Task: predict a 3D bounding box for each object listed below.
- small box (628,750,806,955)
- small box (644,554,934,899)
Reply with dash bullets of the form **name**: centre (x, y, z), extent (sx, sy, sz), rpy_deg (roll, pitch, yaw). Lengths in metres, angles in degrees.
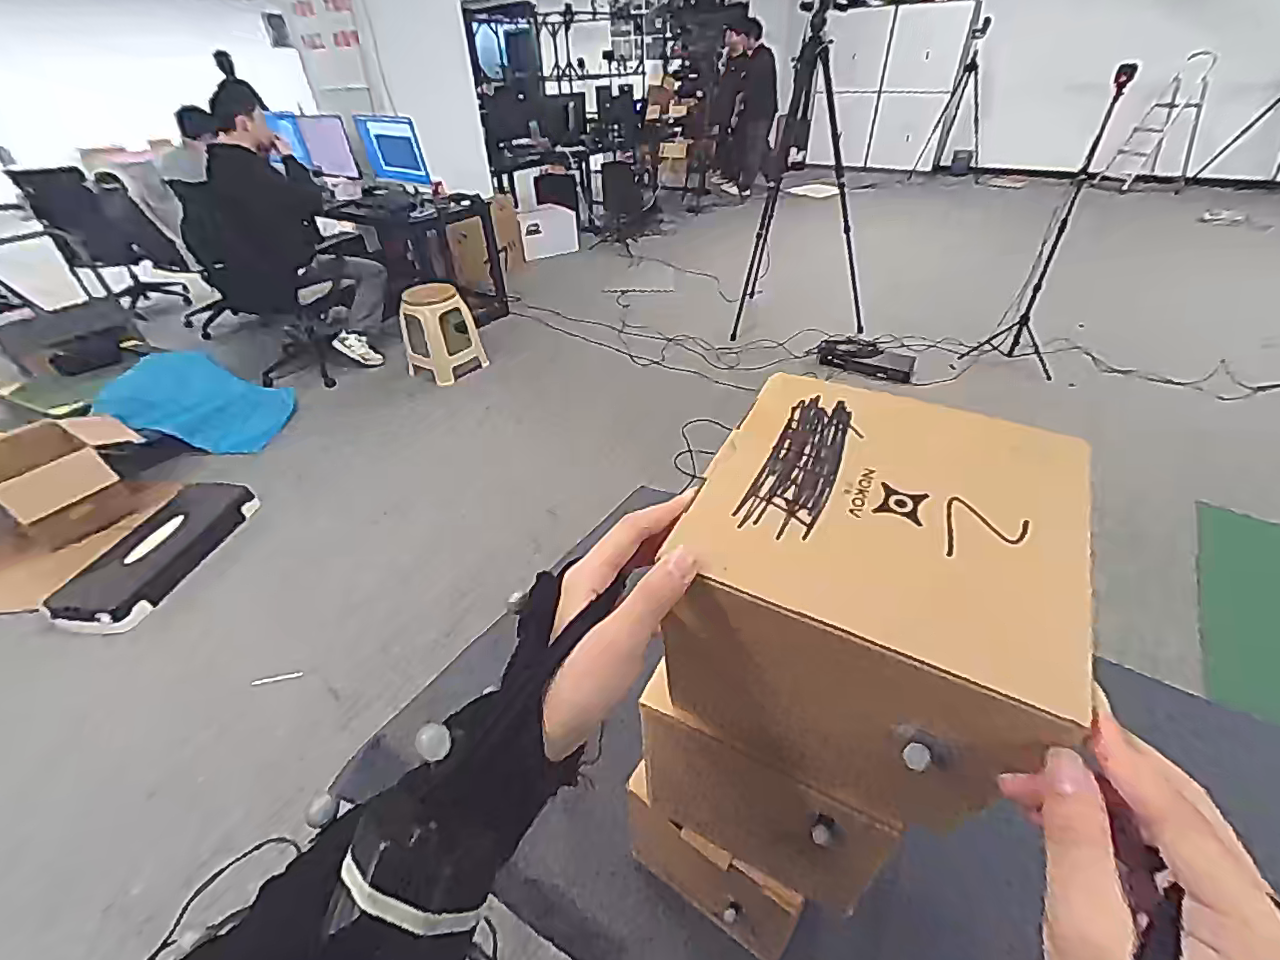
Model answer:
- **small box**: centre (0.106, 0.321, 0.549), extent (0.168, 0.176, 0.179), rpy_deg (23, 43, 27)
- **small box**: centre (0.116, 0.196, 0.445), extent (0.179, 0.176, 0.168), rpy_deg (18, 42, 22)
